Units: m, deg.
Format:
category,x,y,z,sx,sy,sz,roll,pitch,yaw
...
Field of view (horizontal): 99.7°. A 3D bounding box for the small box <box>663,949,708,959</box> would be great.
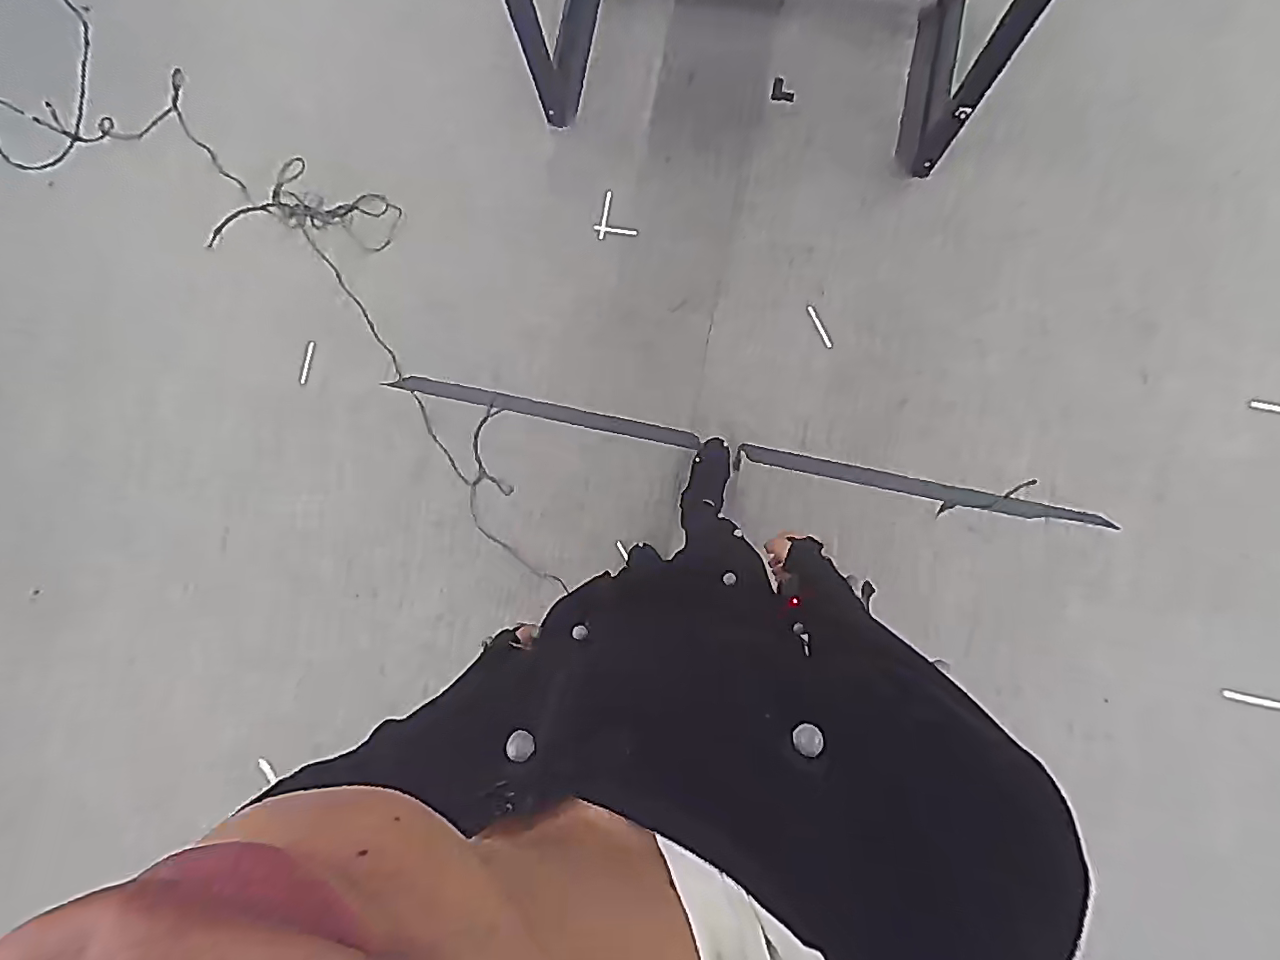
category,x,y,z,sx,sy,sz,roll,pitch,yaw
small box,0.131,1.437,1.469,0.179,0.176,0.168,13,88,4
